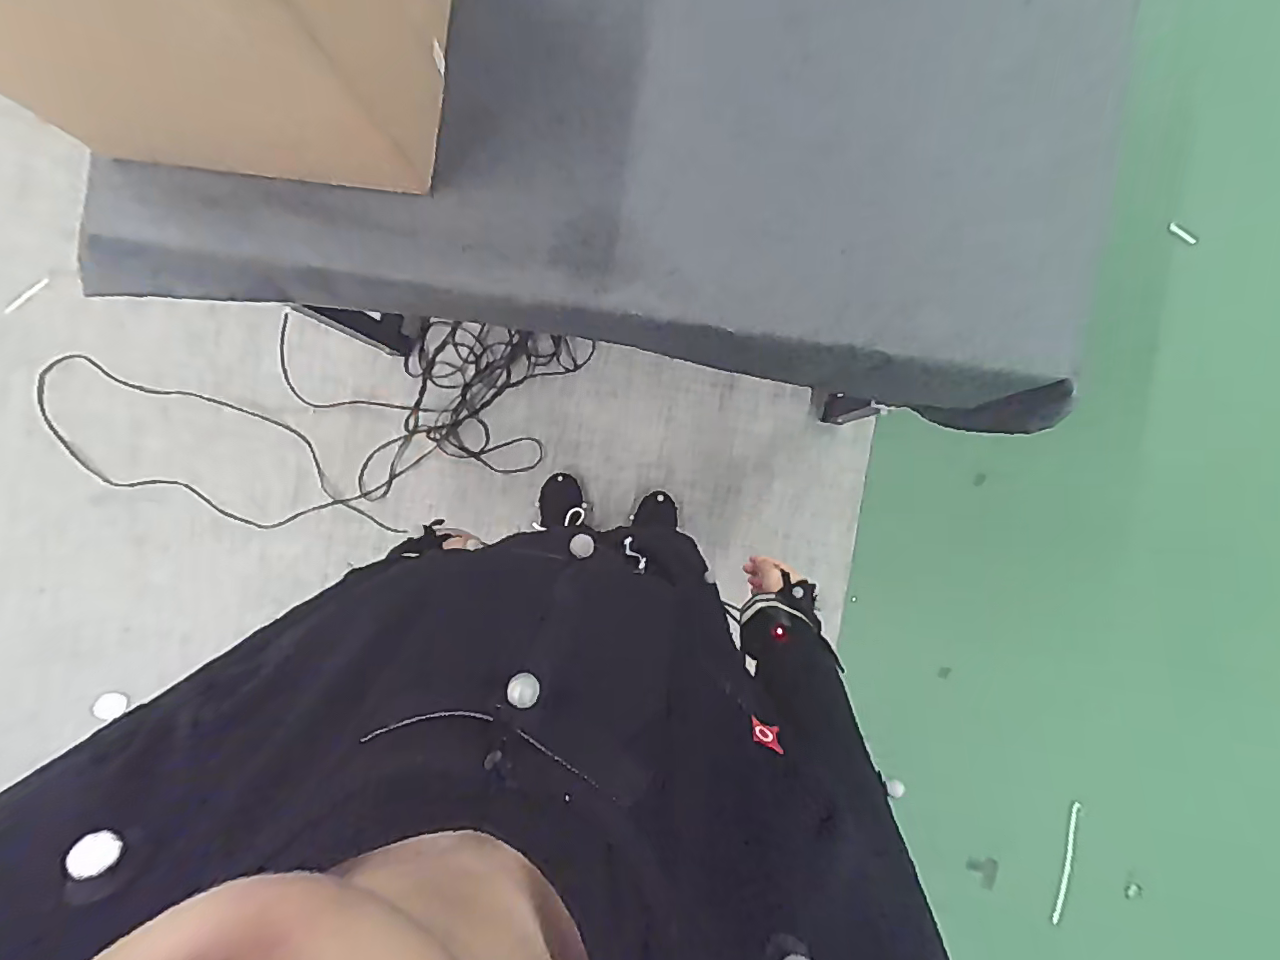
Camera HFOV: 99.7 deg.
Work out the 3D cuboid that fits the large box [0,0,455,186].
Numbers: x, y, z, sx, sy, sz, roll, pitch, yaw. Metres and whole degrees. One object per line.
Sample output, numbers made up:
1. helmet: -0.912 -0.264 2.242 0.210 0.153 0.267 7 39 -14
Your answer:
1. large box: -0.428 -0.520 0.505 0.408 0.320 0.320 6 90 -1
